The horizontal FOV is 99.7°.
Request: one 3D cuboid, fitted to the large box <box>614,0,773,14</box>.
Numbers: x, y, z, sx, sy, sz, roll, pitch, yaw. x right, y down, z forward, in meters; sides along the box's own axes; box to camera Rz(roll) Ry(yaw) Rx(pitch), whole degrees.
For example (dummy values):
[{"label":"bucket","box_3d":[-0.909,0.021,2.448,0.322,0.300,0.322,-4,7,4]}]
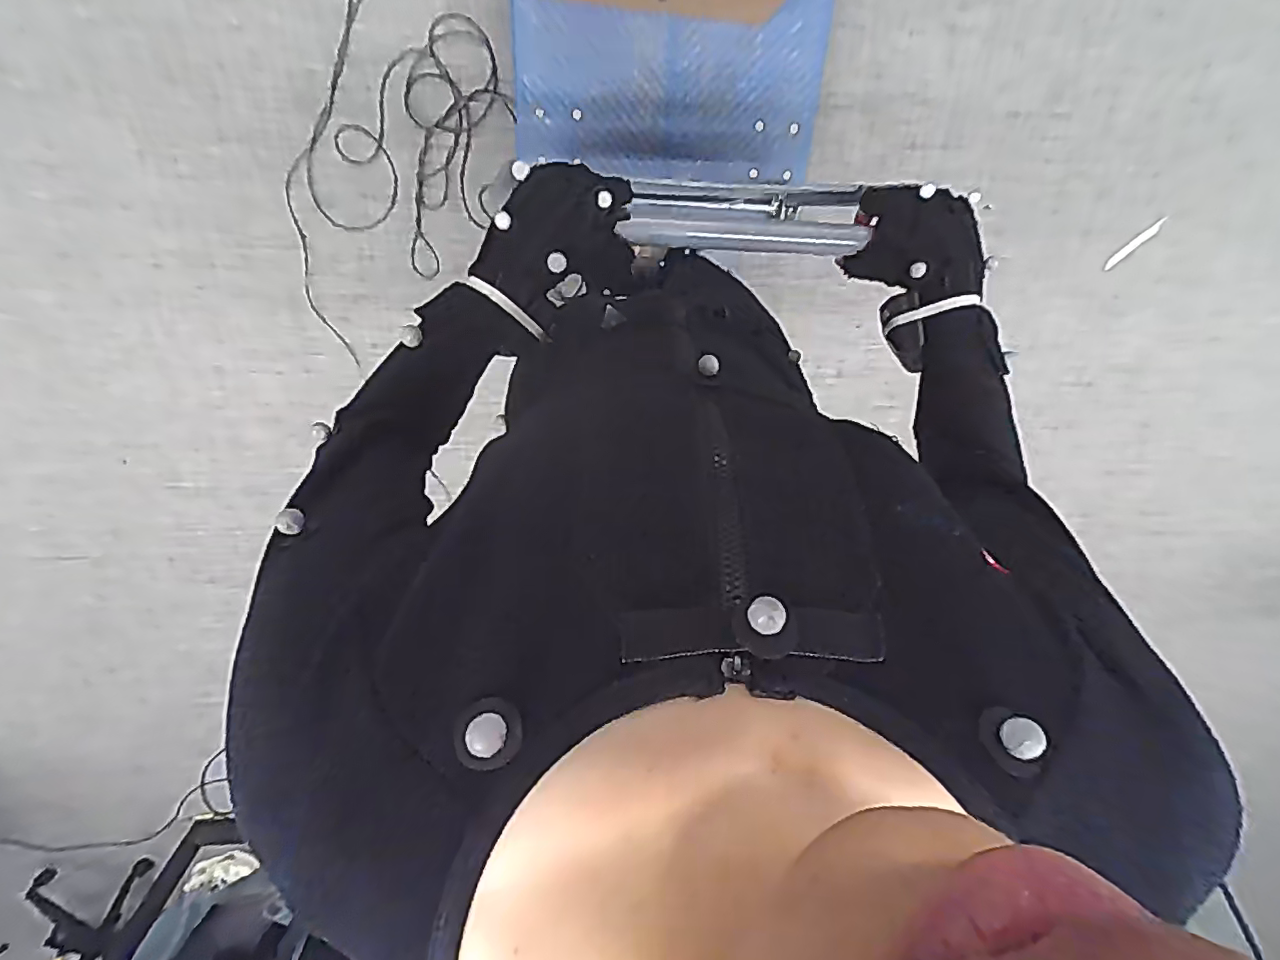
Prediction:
[{"label":"large box","box_3d":[0.045,-0.909,0.762,0.408,0.320,0.320,2,117,-5]}]
